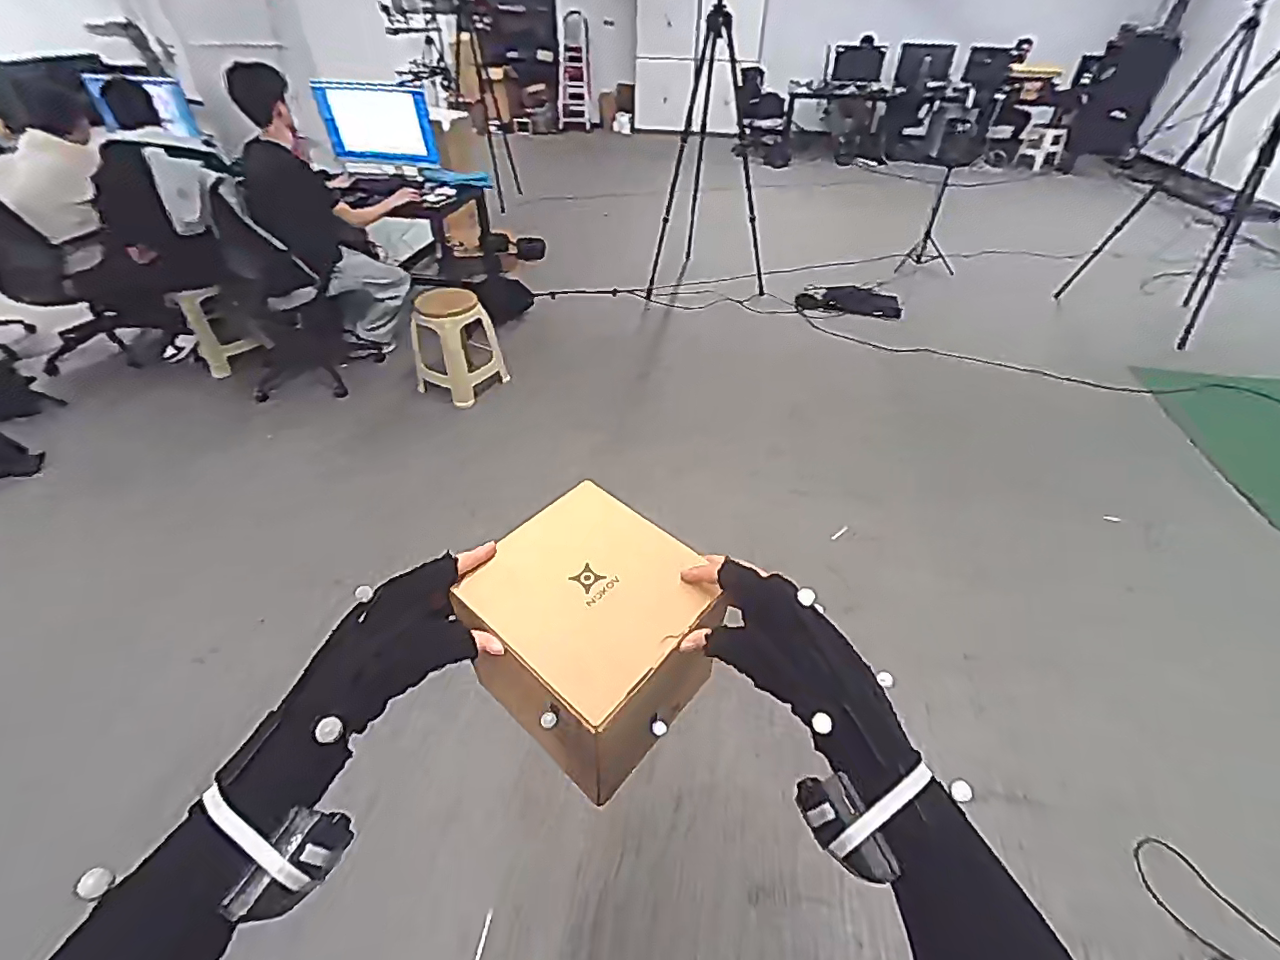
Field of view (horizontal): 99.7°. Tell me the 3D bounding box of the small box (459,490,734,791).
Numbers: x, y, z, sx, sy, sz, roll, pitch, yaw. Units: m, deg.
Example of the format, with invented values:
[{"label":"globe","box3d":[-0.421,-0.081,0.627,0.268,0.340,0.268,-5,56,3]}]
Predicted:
[{"label":"small box","box3d":[-0.043,0.147,0.507,0.179,0.176,0.168,36,51,26]}]
